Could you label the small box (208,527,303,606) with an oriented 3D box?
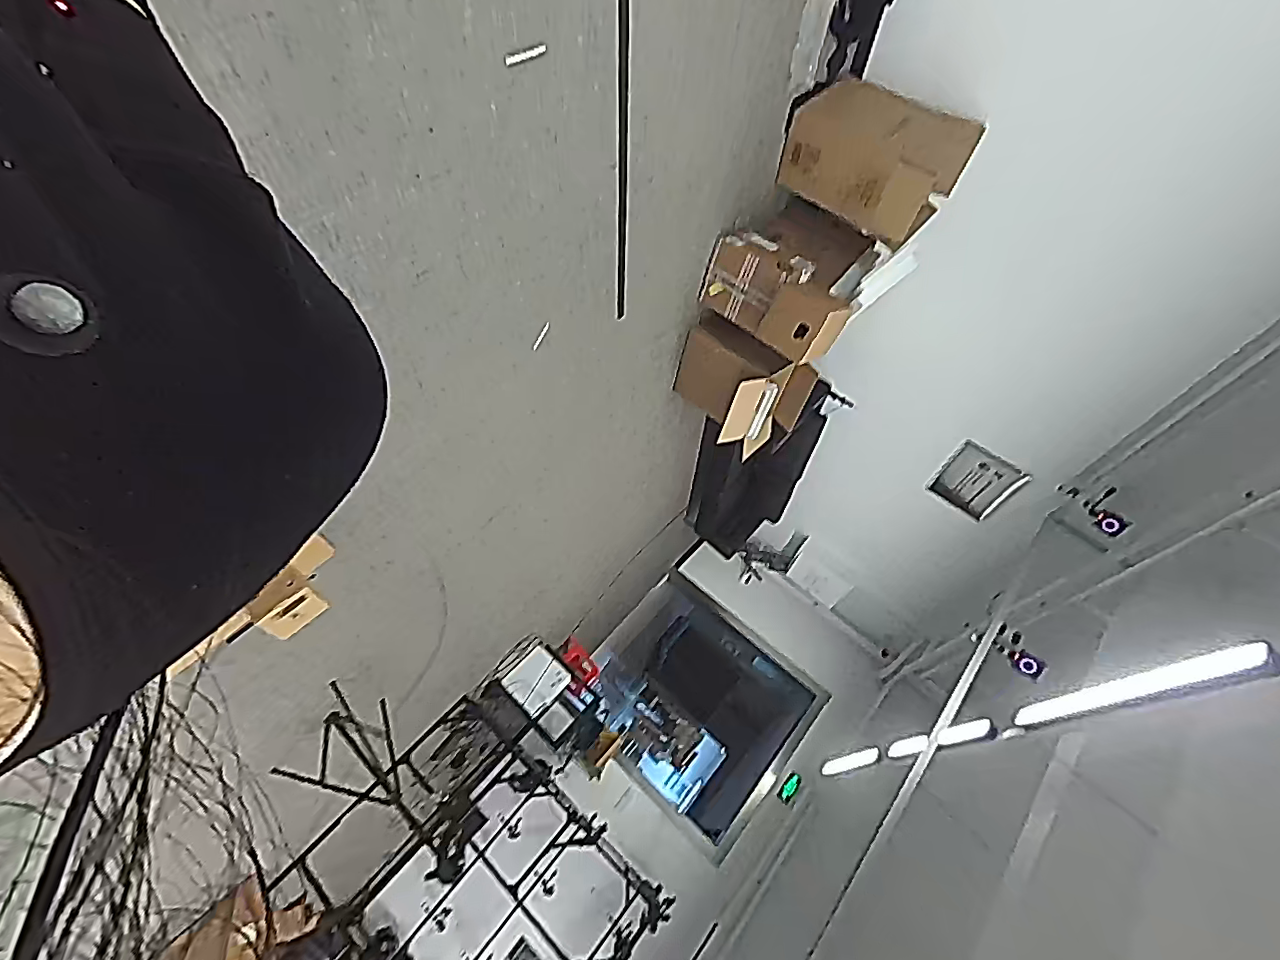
[{"bbox_3d":[-1.277,0.281,1.795,0.168,0.176,0.179,-41,158,-27],"label":"small box"}]
